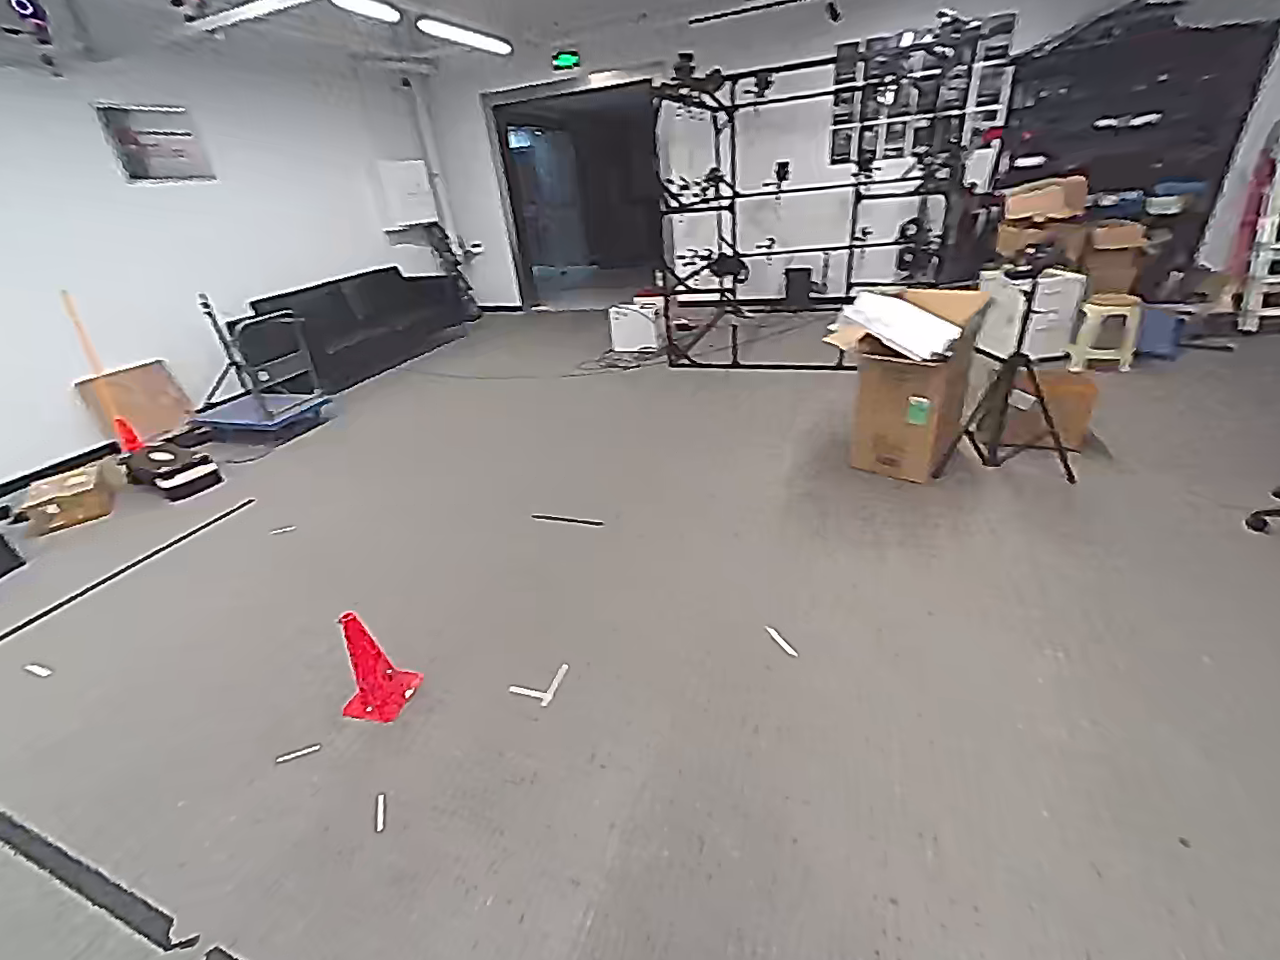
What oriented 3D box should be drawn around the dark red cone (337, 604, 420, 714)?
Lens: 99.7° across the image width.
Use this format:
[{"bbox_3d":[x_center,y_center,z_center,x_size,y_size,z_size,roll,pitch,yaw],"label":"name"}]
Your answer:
[{"bbox_3d":[-0.880,0.552,1.727,0.202,0.394,0.201,1,31,14],"label":"dark red cone"}]
